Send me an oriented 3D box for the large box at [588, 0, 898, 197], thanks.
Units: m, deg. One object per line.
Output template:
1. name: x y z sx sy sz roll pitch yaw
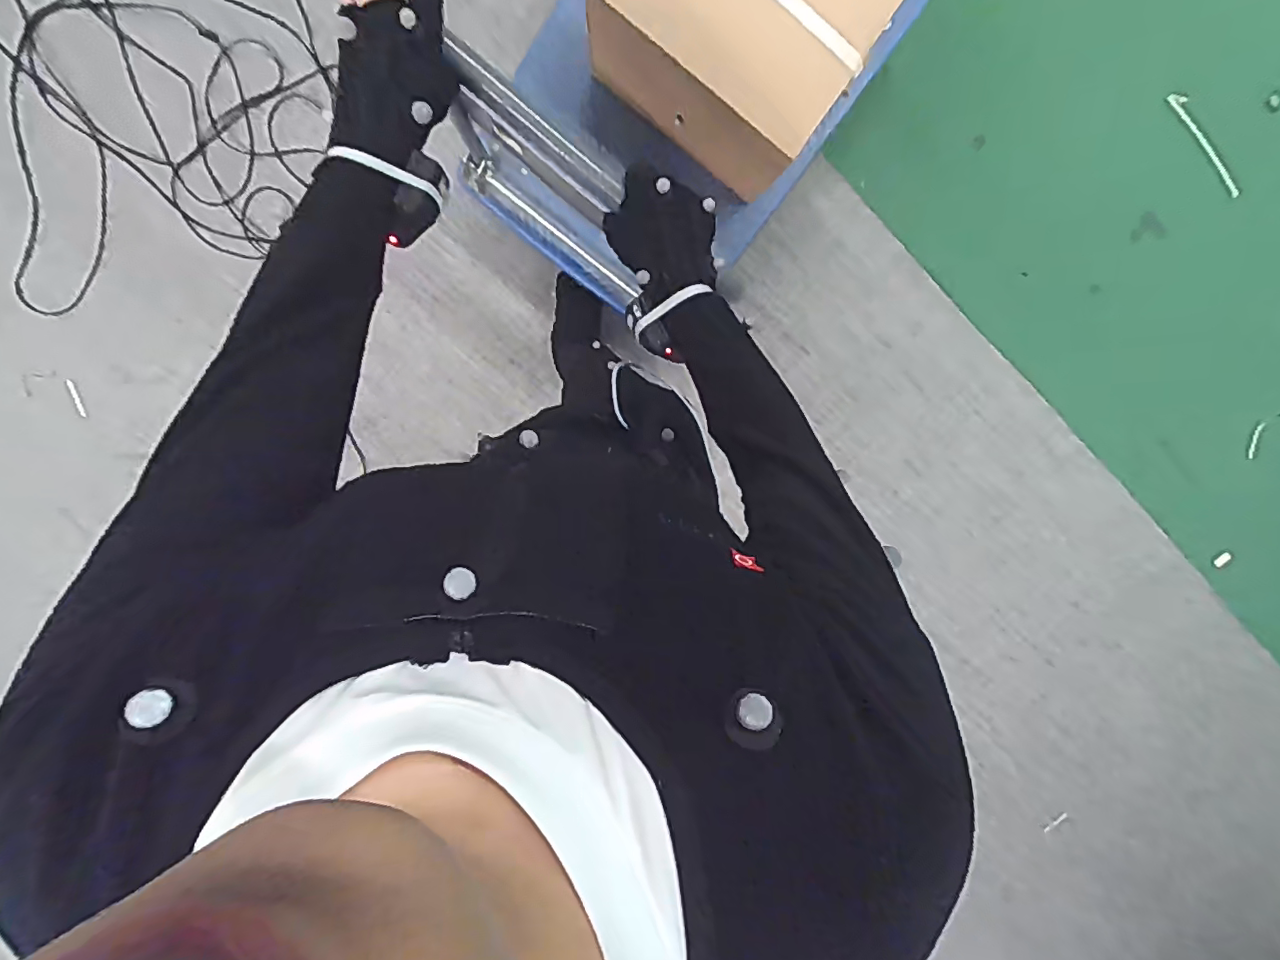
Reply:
1. large box: 0.164 -0.786 0.954 0.408 0.320 0.320 33 101 -10
